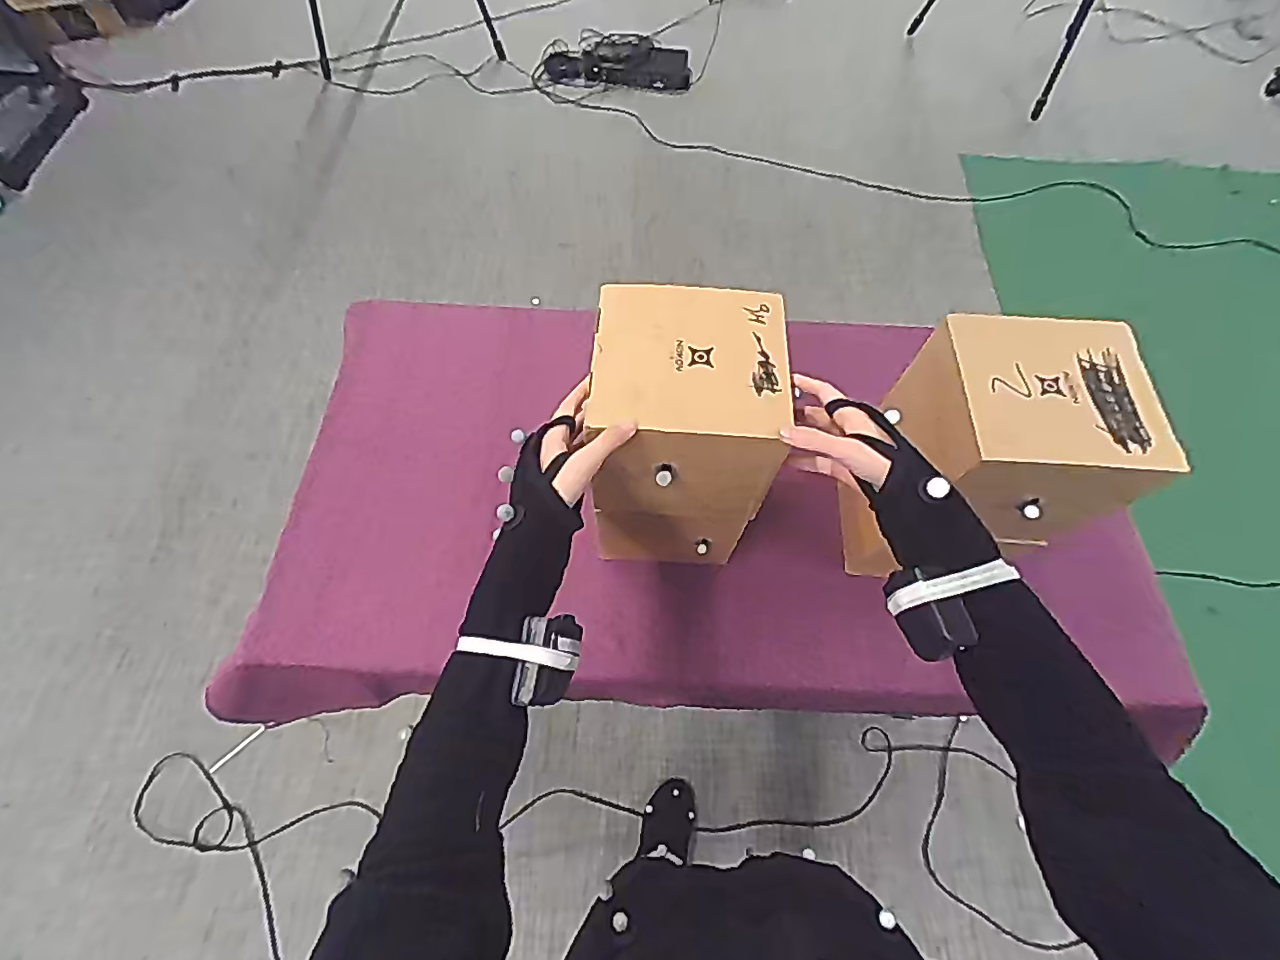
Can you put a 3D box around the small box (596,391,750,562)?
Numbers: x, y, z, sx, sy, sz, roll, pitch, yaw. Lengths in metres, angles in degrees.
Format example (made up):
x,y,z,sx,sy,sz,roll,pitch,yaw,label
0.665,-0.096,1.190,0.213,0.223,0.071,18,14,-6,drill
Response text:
x,y,z,sx,sy,sz,roll,pitch,yaw,label
0.039,0.003,0.713,0.179,0.176,0.168,3,62,0,small box

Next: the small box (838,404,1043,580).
x,y,z,sx,sy,sz,roll,pitch,yaw,label
0.374,0.023,0.712,0.168,0.176,0.179,4,63,1,small box
